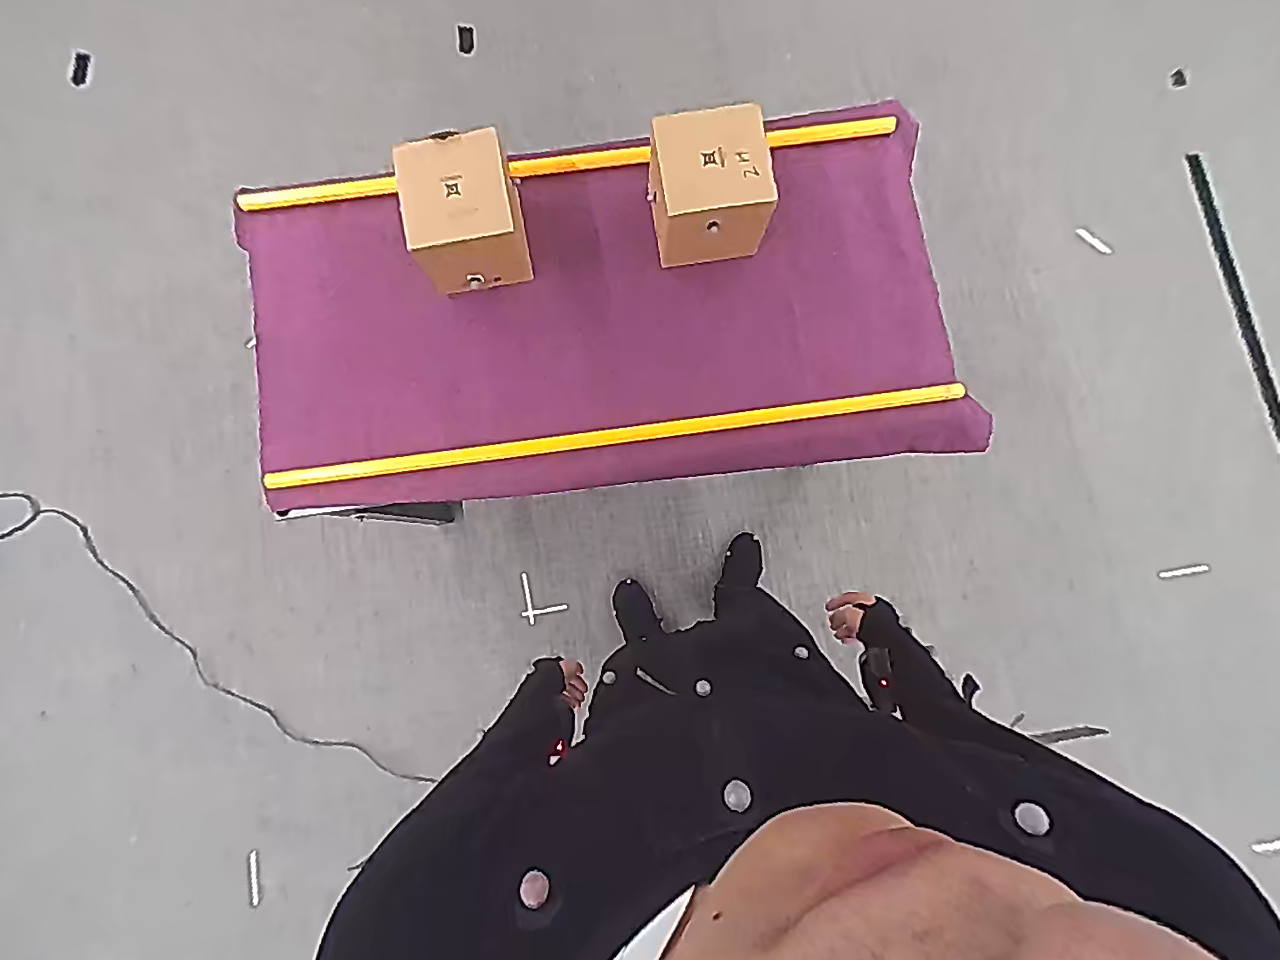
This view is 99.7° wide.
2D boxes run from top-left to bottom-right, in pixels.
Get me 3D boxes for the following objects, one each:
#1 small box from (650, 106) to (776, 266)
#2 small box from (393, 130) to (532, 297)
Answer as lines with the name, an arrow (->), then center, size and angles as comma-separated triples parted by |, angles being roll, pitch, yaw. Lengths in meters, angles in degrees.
small box -> 0.113, -0.483, 0.913 | 0.179, 0.176, 0.168 | -9, 85, -2
small box -> -0.286, -0.435, 0.902 | 0.168, 0.176, 0.179 | -11, 84, -1
